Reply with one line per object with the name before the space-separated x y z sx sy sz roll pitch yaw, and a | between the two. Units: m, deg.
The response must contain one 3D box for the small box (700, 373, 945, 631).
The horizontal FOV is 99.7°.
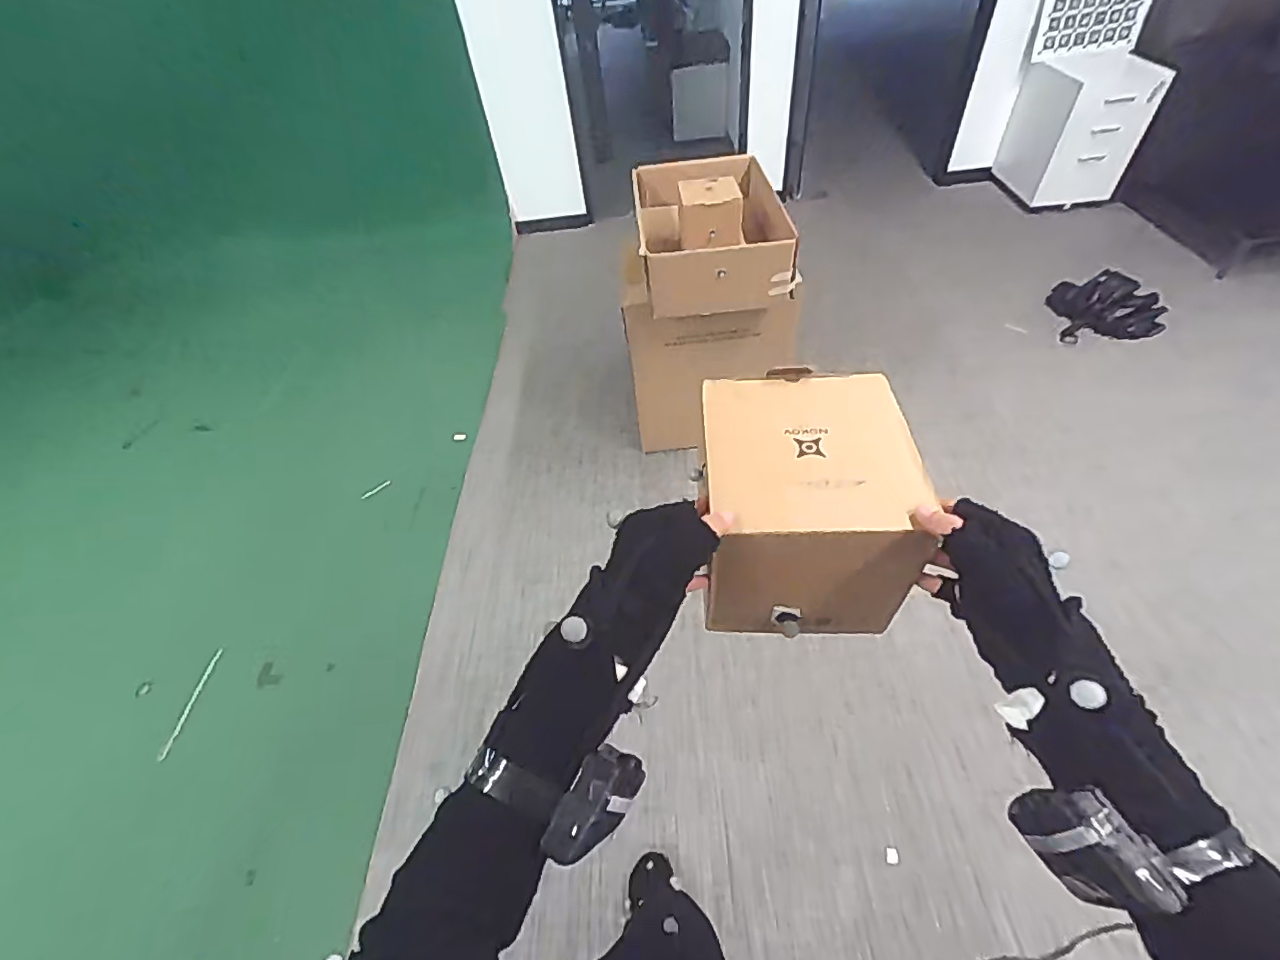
small box | 0.143 0.021 0.502 0.168 0.176 0.179 -1 50 4
